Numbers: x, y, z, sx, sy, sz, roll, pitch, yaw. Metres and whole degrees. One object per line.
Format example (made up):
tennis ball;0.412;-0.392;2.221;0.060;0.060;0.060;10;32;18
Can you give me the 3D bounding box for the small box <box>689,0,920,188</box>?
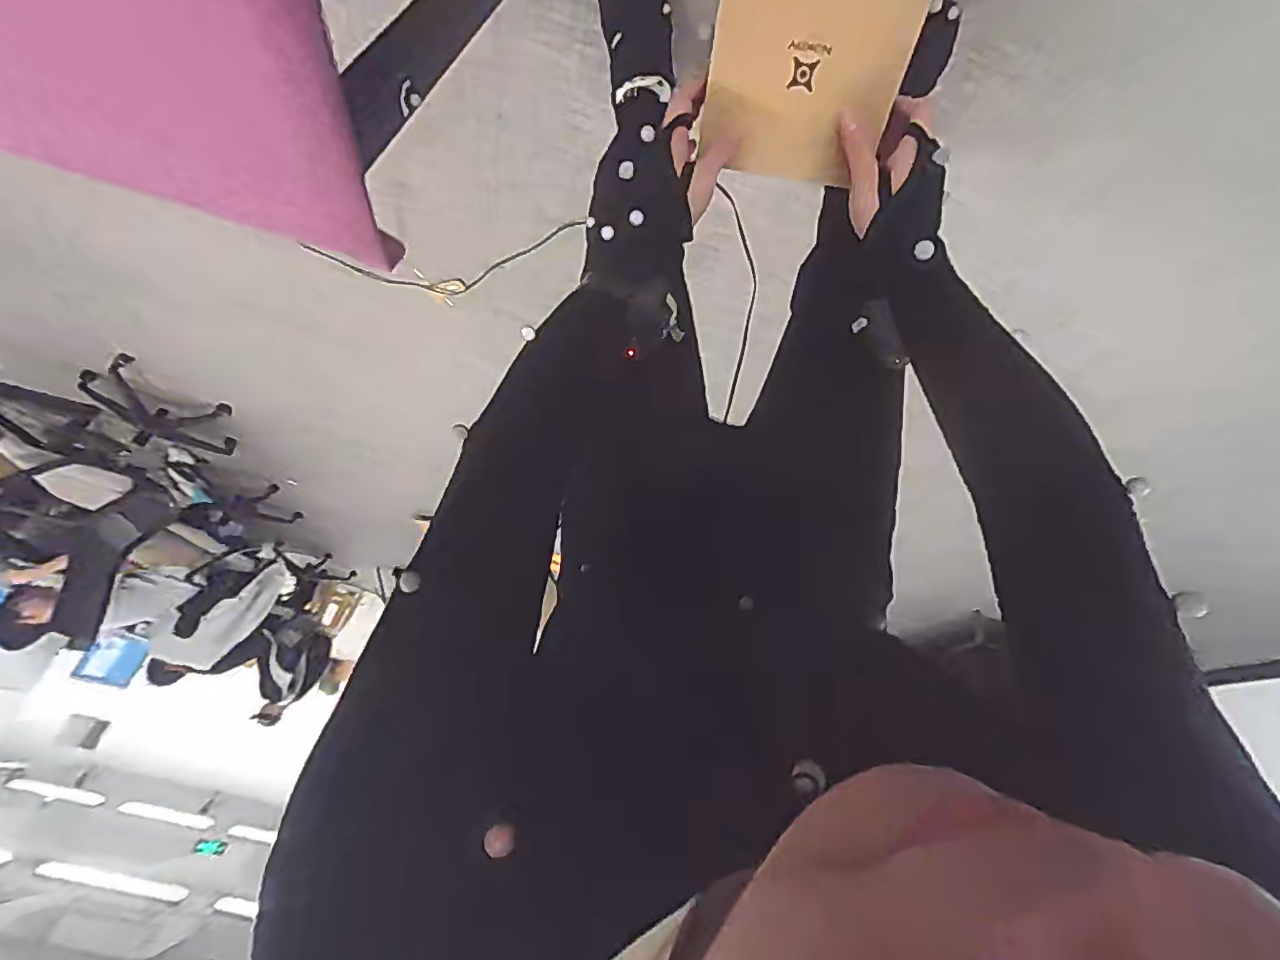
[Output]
small box;0.150;-0.412;0.513;0.168;0.176;0.179;12;139;5
